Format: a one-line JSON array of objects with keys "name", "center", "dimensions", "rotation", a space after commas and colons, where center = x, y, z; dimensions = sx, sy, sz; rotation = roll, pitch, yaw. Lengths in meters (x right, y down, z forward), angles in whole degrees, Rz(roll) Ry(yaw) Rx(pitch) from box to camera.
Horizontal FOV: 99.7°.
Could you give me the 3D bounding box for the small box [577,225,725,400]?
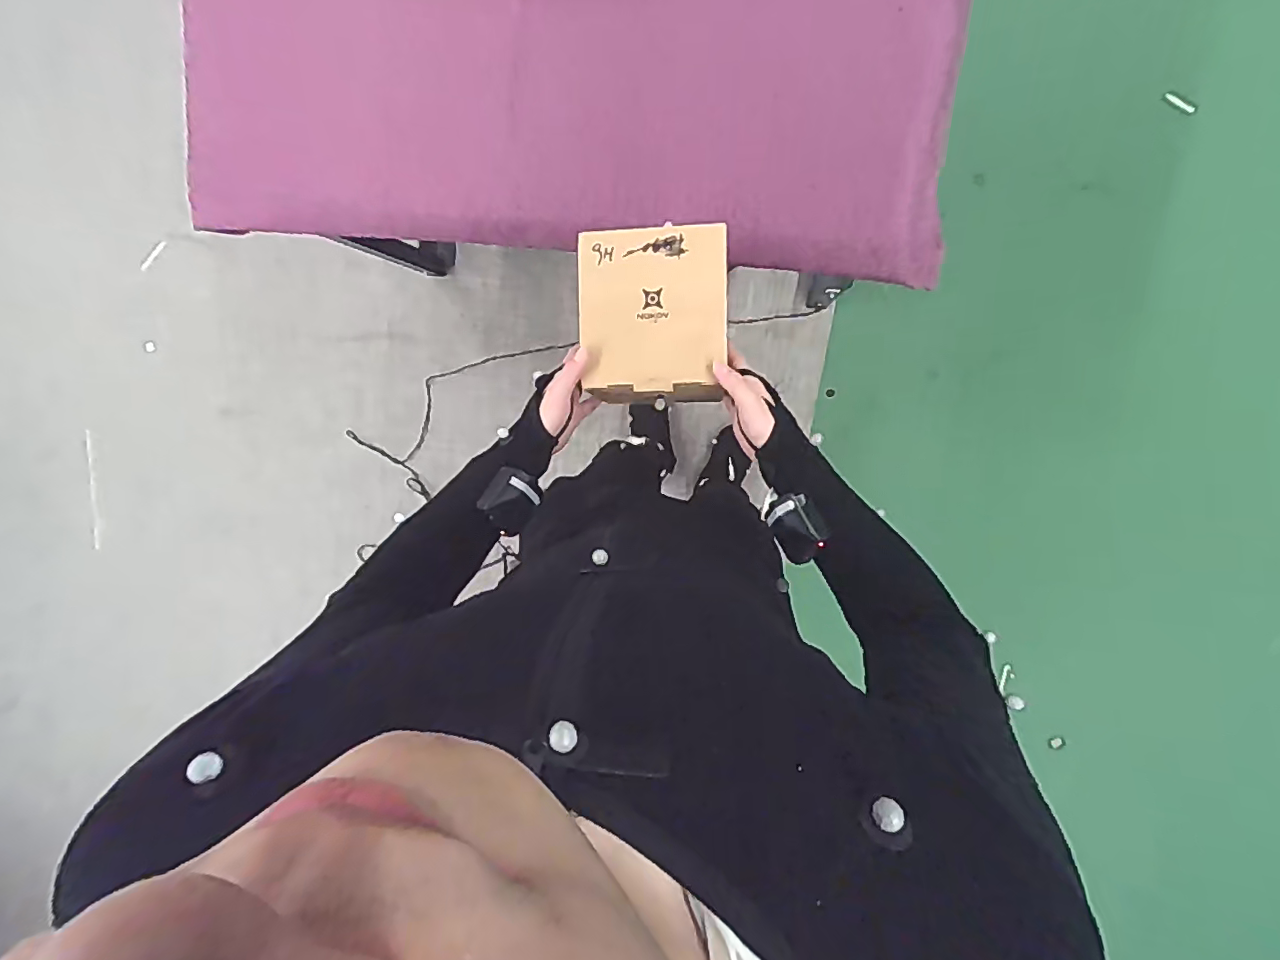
[{"name": "small box", "center": [0.022, -0.192, 0.674], "dimensions": [0.168, 0.176, 0.179], "rotation": [-1, 92, 7]}]
